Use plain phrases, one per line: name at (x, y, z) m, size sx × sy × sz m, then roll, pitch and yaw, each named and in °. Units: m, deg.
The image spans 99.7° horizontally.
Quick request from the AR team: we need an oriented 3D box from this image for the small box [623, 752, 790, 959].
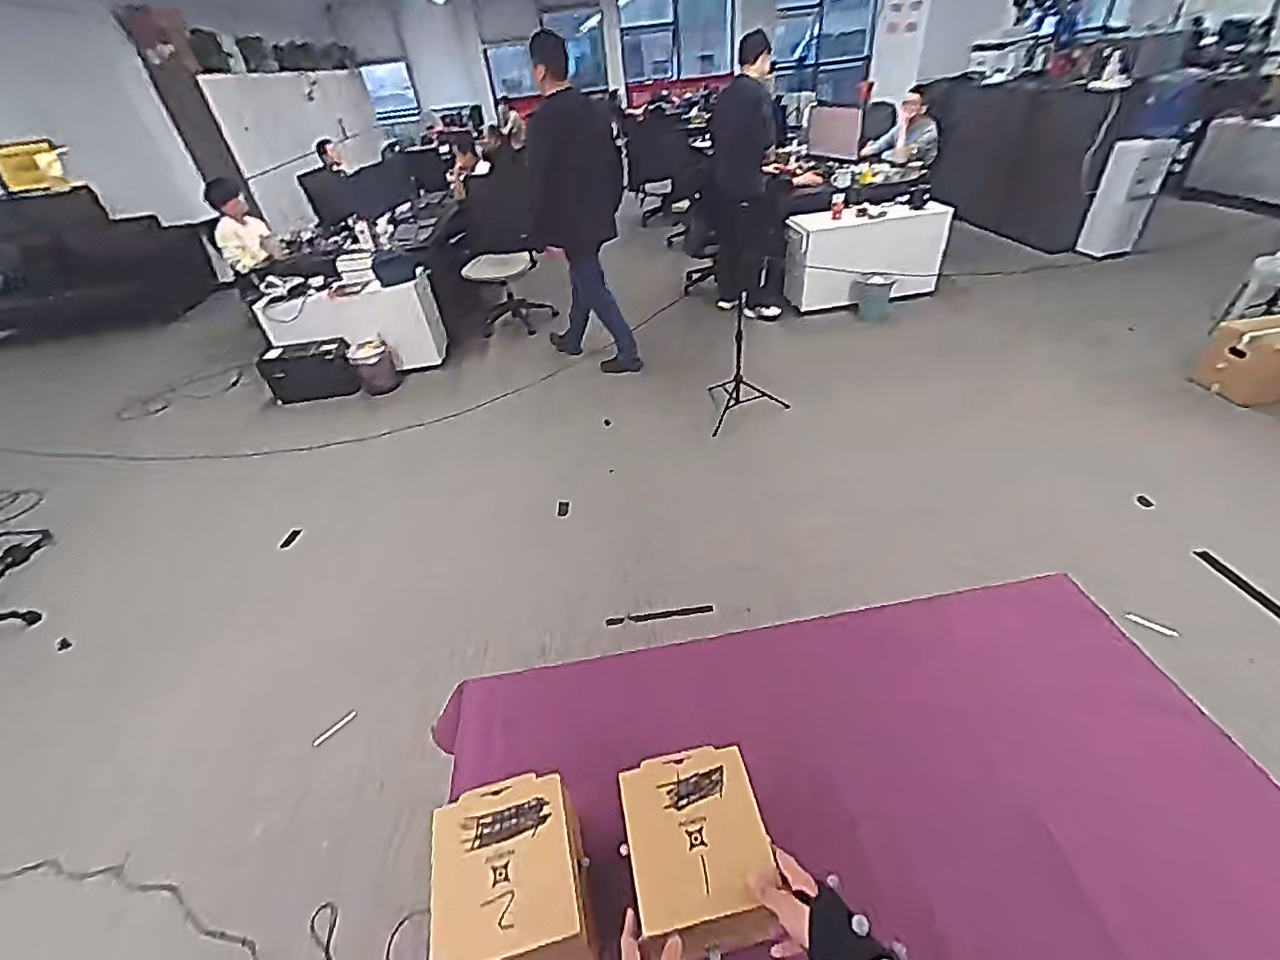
small box at (0.077, 0.490, 0.695) m, size 0.168 × 0.176 × 0.179 m, roll -11°, pitch 39°, yaw -5°
